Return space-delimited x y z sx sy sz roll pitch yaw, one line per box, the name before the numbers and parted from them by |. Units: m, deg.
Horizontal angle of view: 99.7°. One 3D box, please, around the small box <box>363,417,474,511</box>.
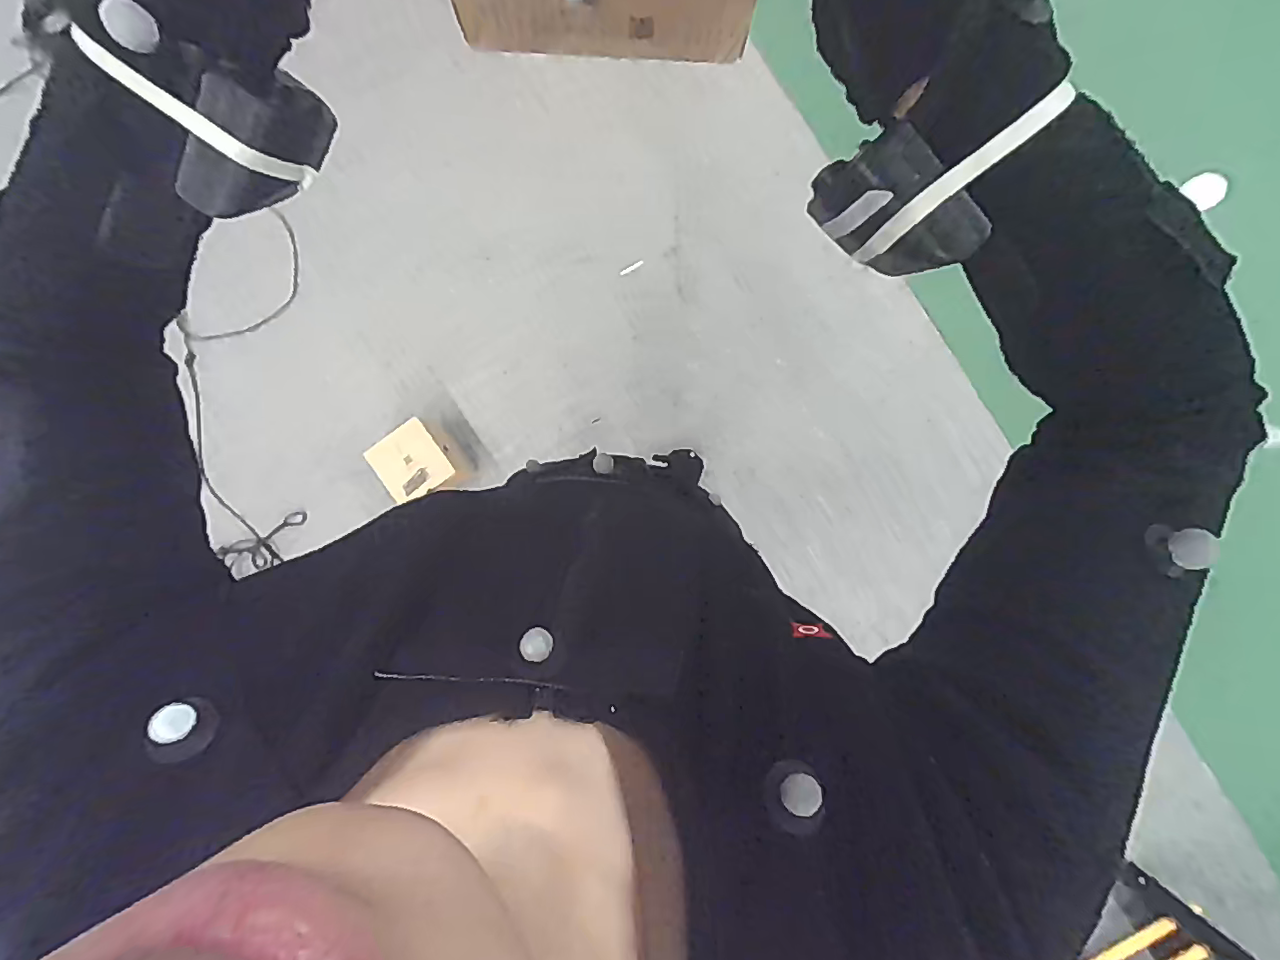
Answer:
small box | -0.561 -0.043 1.397 0.168 0.176 0.179 -36 90 1
